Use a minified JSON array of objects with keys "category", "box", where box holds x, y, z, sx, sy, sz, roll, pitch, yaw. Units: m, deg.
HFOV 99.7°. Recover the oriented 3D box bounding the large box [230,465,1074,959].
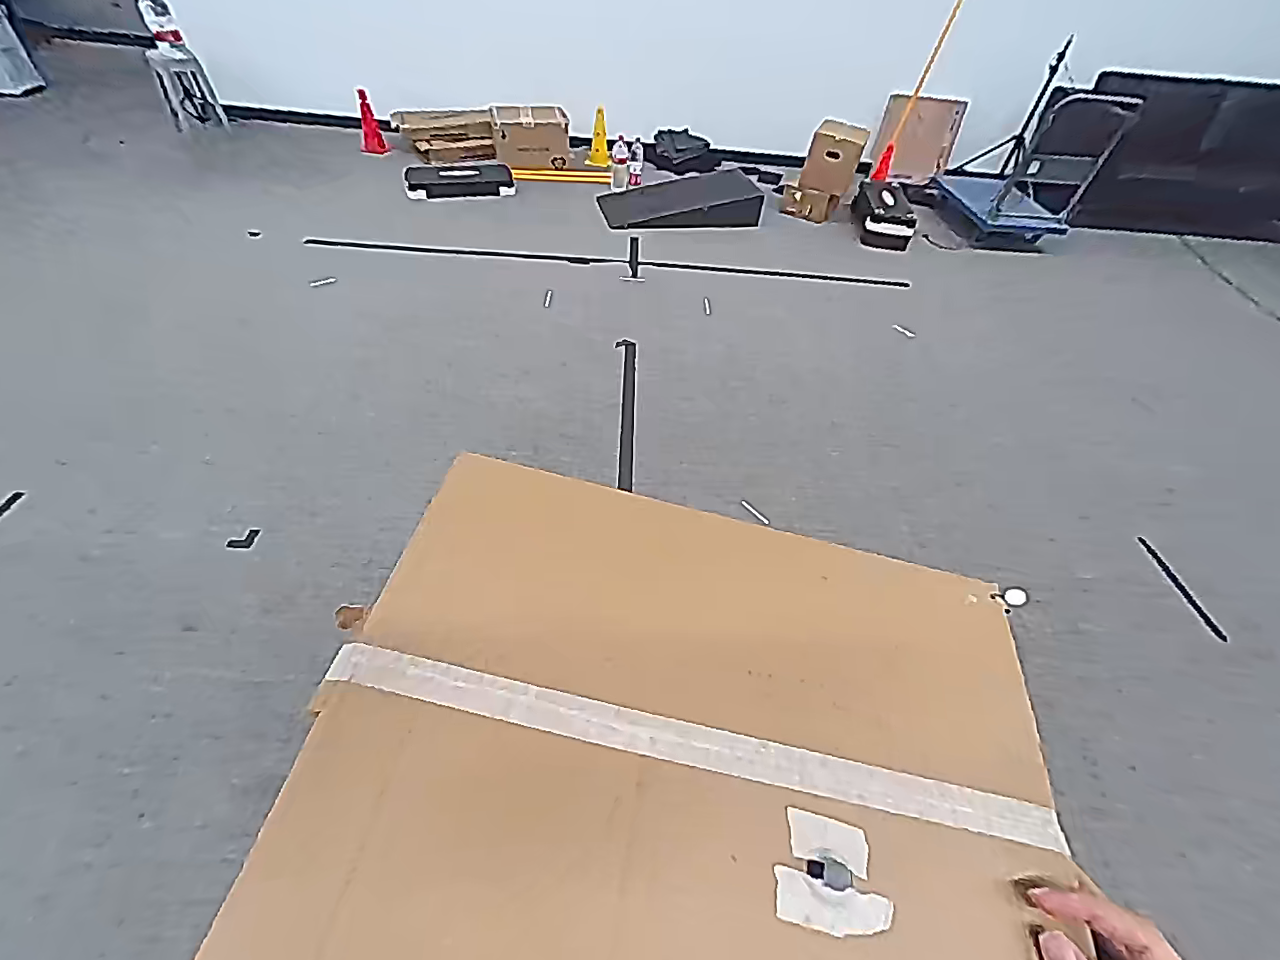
[{"category":"large box","box":[0.014,0.238,0.427,0.408,0.320,0.320,15,53,-2]}]
